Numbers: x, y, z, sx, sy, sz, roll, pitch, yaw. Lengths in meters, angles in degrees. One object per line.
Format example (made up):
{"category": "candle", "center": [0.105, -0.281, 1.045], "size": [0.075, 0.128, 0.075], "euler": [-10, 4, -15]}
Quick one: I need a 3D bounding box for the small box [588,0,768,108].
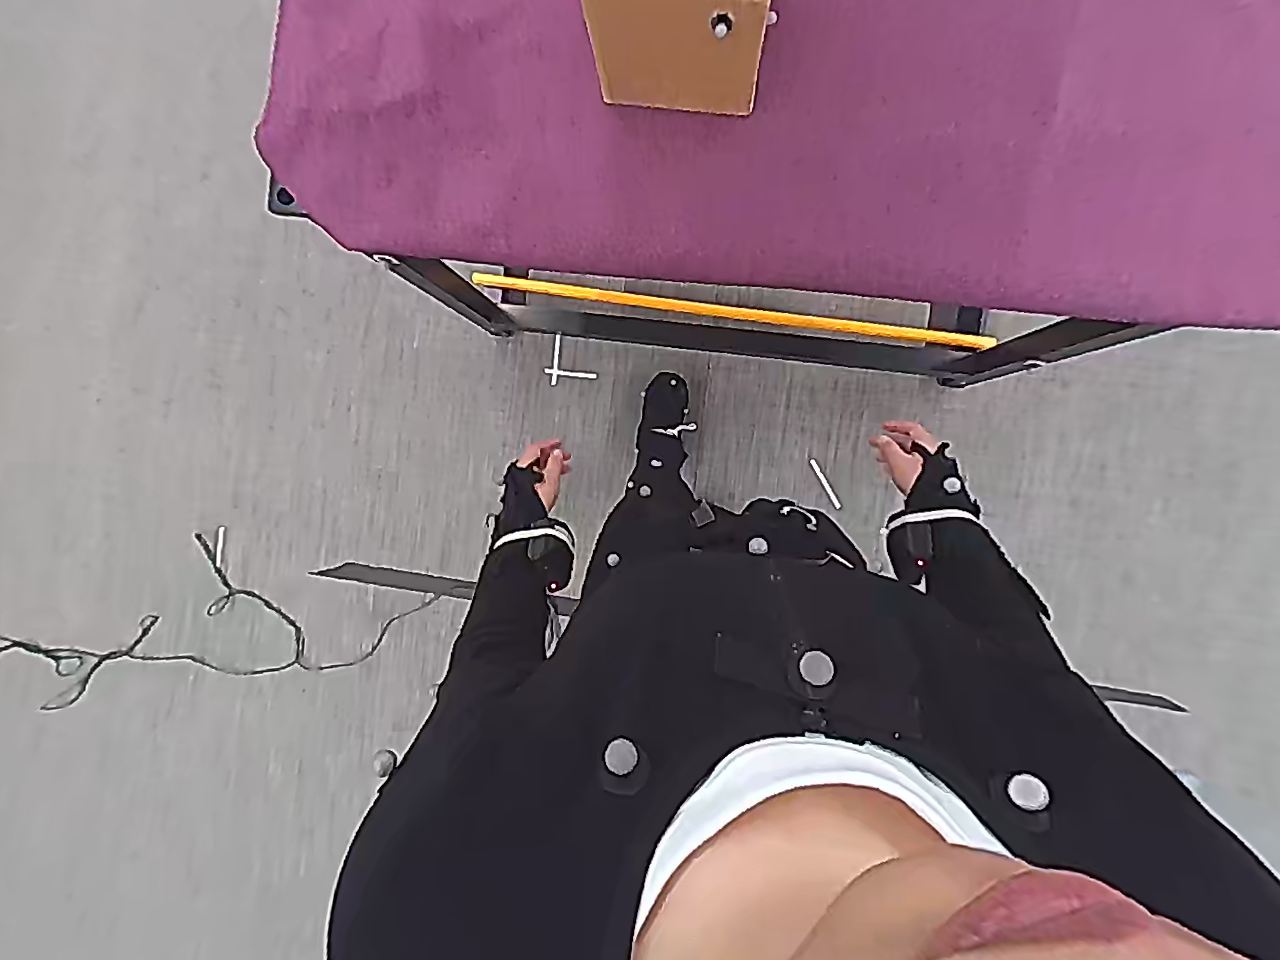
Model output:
{"category": "small box", "center": [0.044, -0.515, 0.548], "size": [0.179, 0.176, 0.168], "euler": [8, 92, 4]}
